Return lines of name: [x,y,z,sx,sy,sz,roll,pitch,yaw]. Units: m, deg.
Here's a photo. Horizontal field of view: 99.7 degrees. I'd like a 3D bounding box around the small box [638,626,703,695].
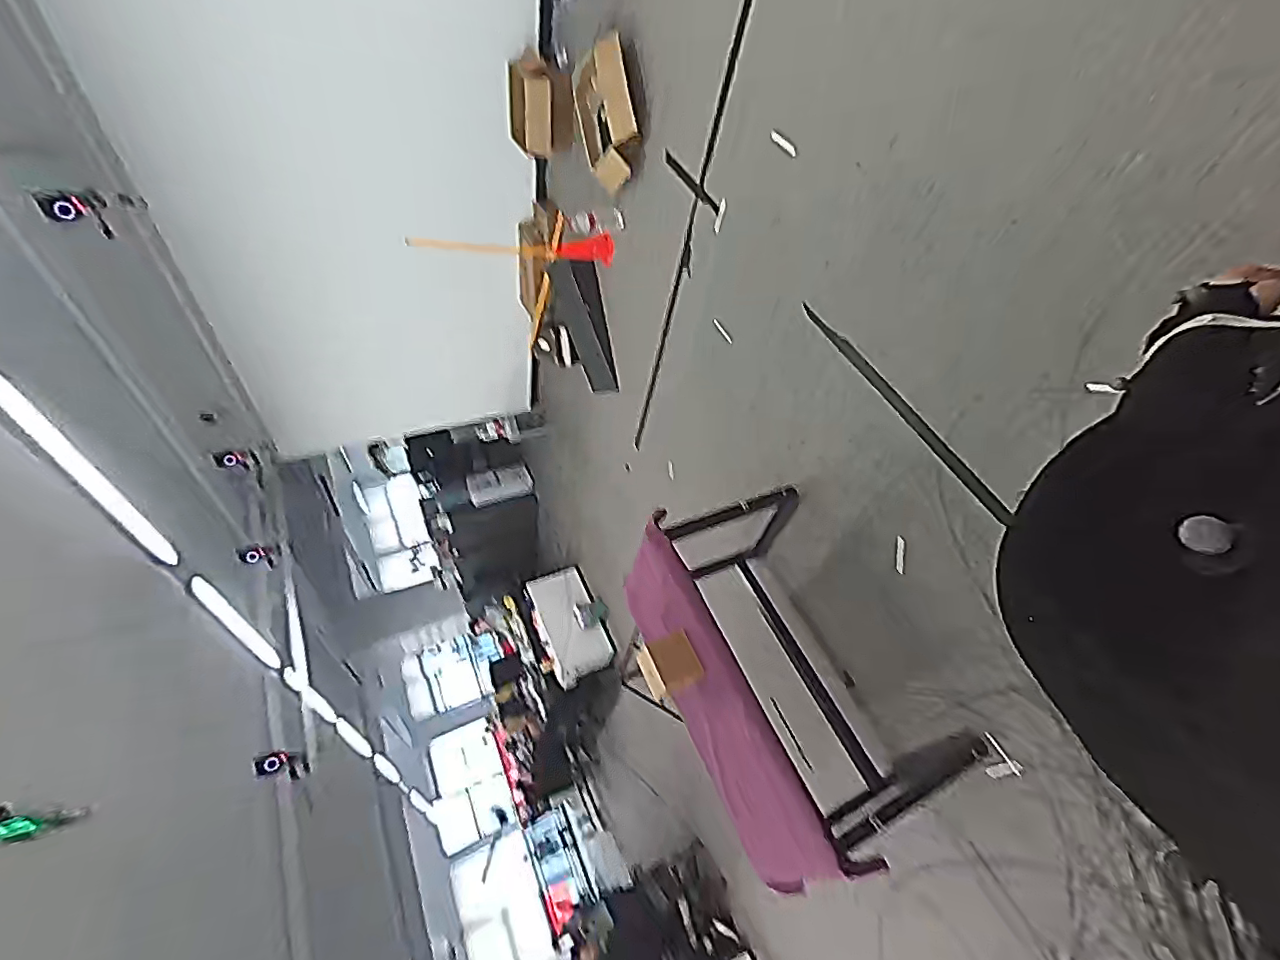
small box: [0.113,0.668,2.009,0.179,0.176,0.168,63,154,27]
